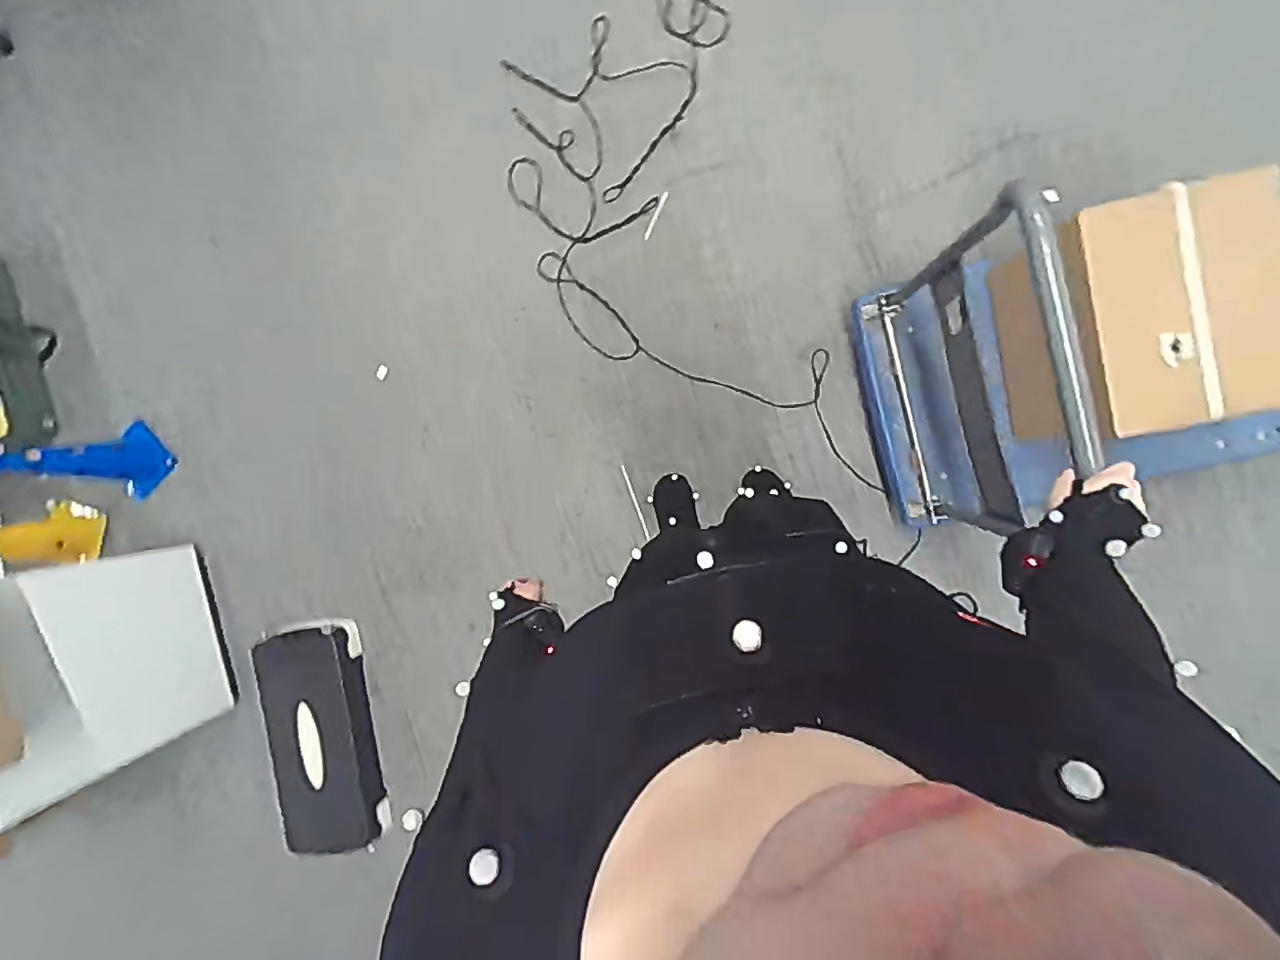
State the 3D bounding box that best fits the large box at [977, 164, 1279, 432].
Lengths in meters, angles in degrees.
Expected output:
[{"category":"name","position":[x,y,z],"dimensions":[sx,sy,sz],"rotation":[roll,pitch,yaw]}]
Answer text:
[{"category":"large box","position":[0.949,-0.327,1.091],"dimensions":[0.320,0.320,0.408],"rotation":[-12,92,7]}]
